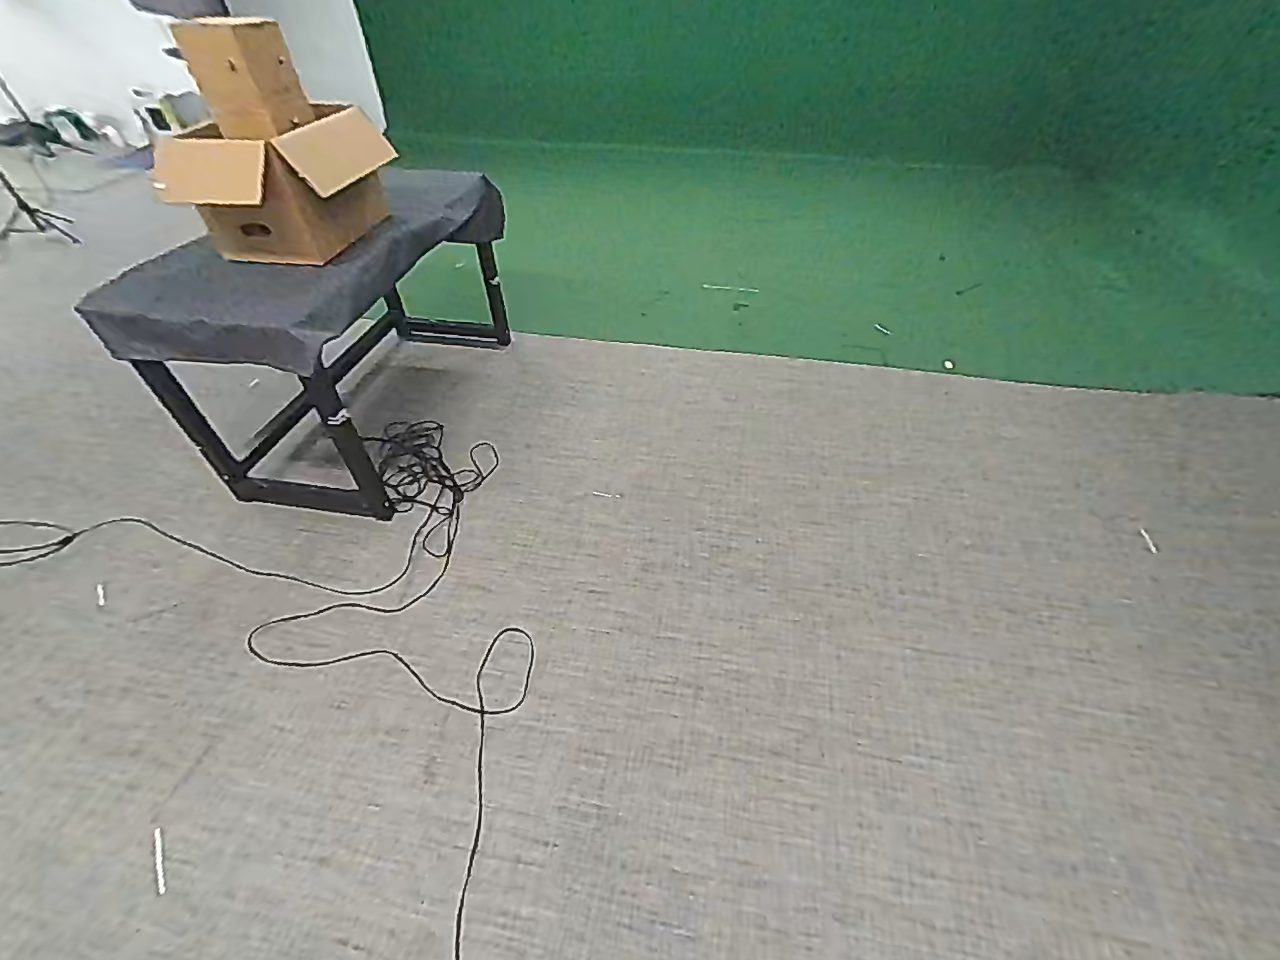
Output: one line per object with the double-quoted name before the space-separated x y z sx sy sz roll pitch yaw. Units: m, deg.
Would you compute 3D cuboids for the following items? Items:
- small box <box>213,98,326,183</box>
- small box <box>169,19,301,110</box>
"small box" -1.004 -0.939 1.490 0.168 0.176 0.179 6 45 7
"small box" -1.015 -1.055 1.376 0.179 0.176 0.168 6 44 9
